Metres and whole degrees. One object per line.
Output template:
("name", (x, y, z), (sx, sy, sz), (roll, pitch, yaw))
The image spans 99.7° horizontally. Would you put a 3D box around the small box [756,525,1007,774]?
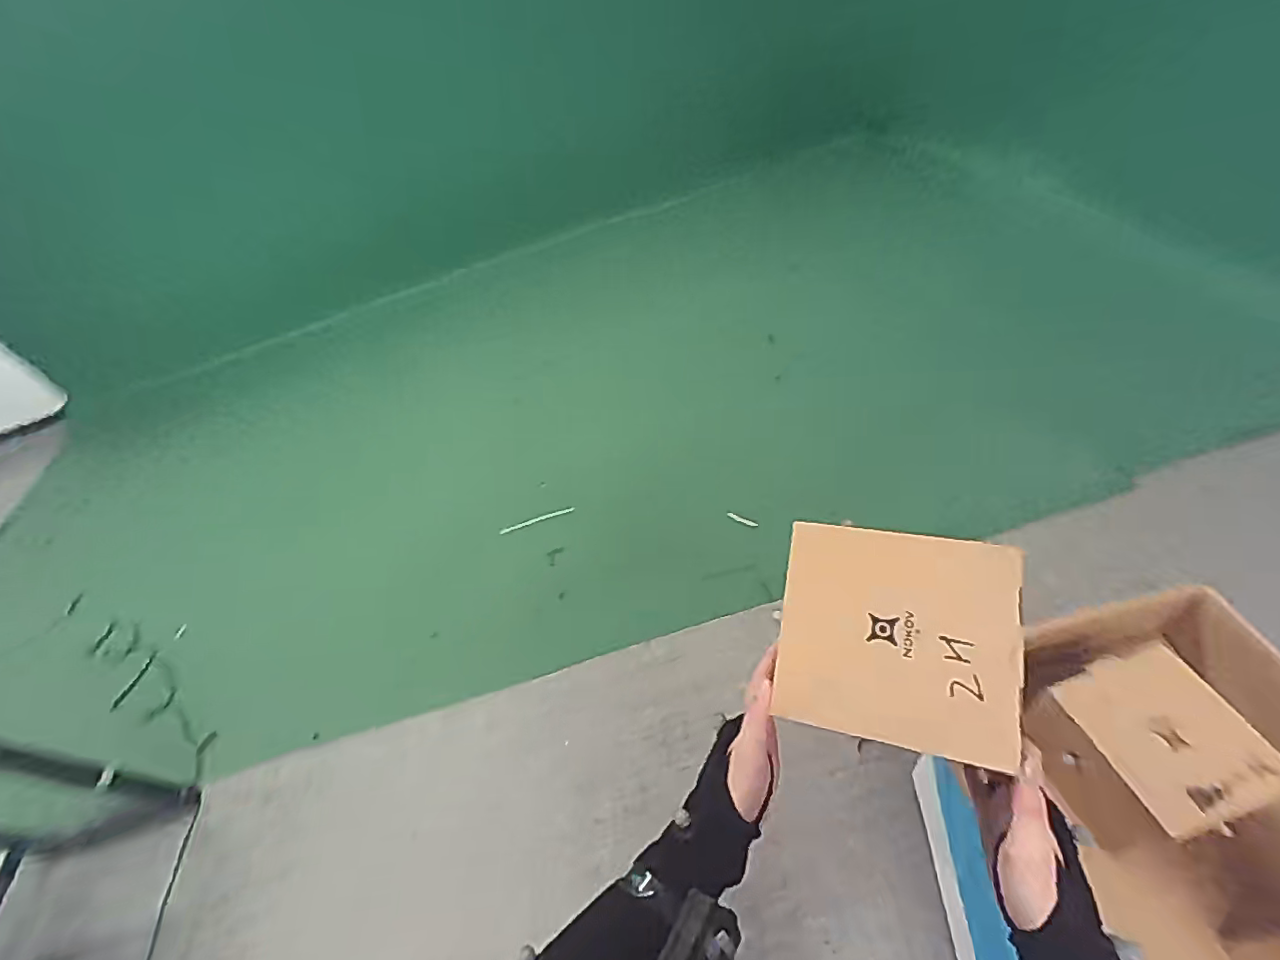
("small box", (0.214, 0.152, 0.502), (0.179, 0.176, 0.168), (6, 72, 20))
